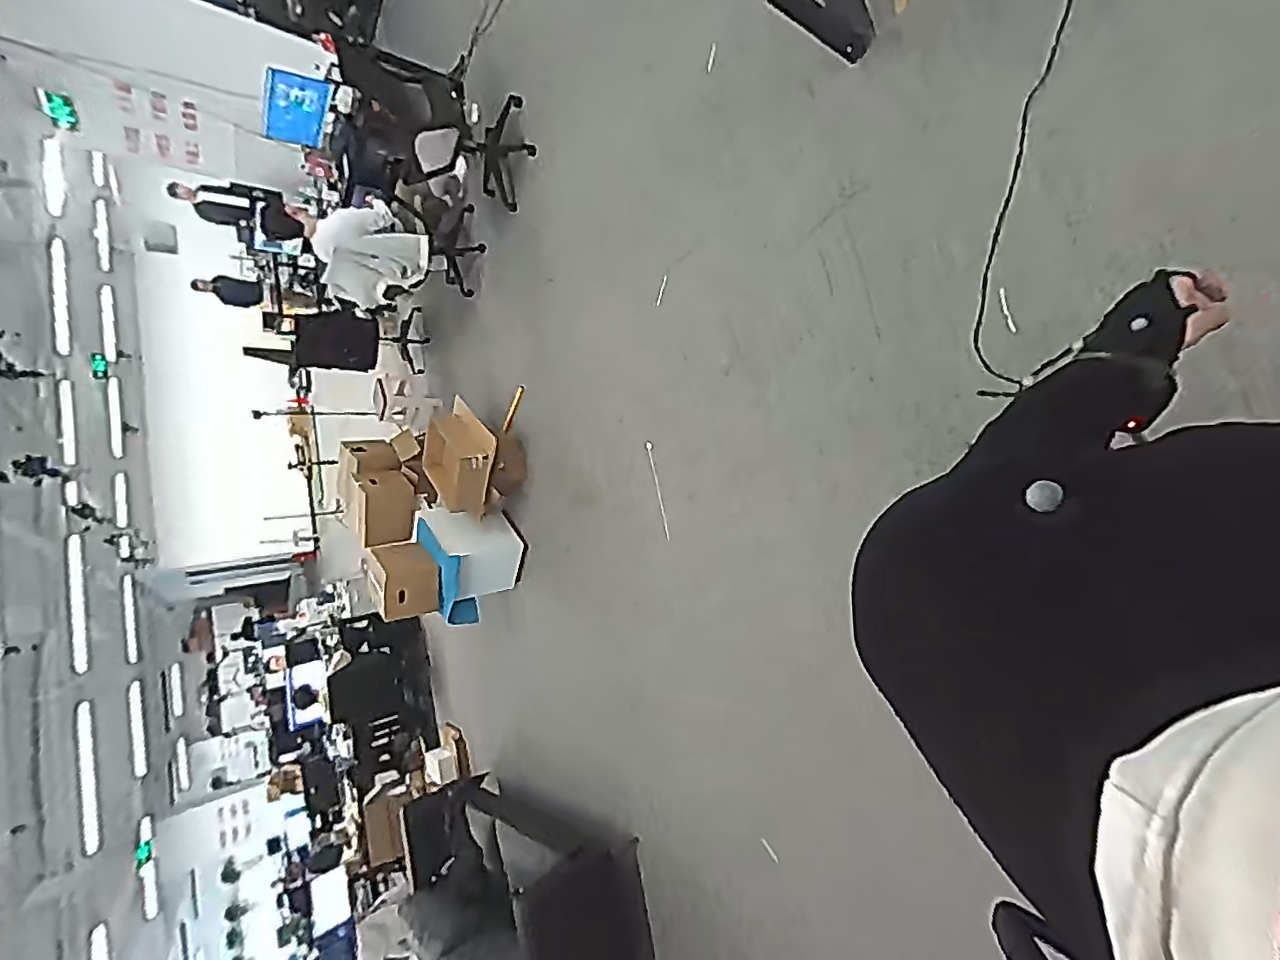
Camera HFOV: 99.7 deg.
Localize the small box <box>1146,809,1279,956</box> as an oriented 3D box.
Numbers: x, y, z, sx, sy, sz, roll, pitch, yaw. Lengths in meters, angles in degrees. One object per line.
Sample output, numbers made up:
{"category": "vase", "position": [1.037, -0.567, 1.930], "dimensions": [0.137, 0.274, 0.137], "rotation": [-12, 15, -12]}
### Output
{"category": "small box", "position": [1.205, 0.823, 1.128], "dimensions": [0.179, 0.176, 0.168], "rotation": [-19, 79, 51]}
